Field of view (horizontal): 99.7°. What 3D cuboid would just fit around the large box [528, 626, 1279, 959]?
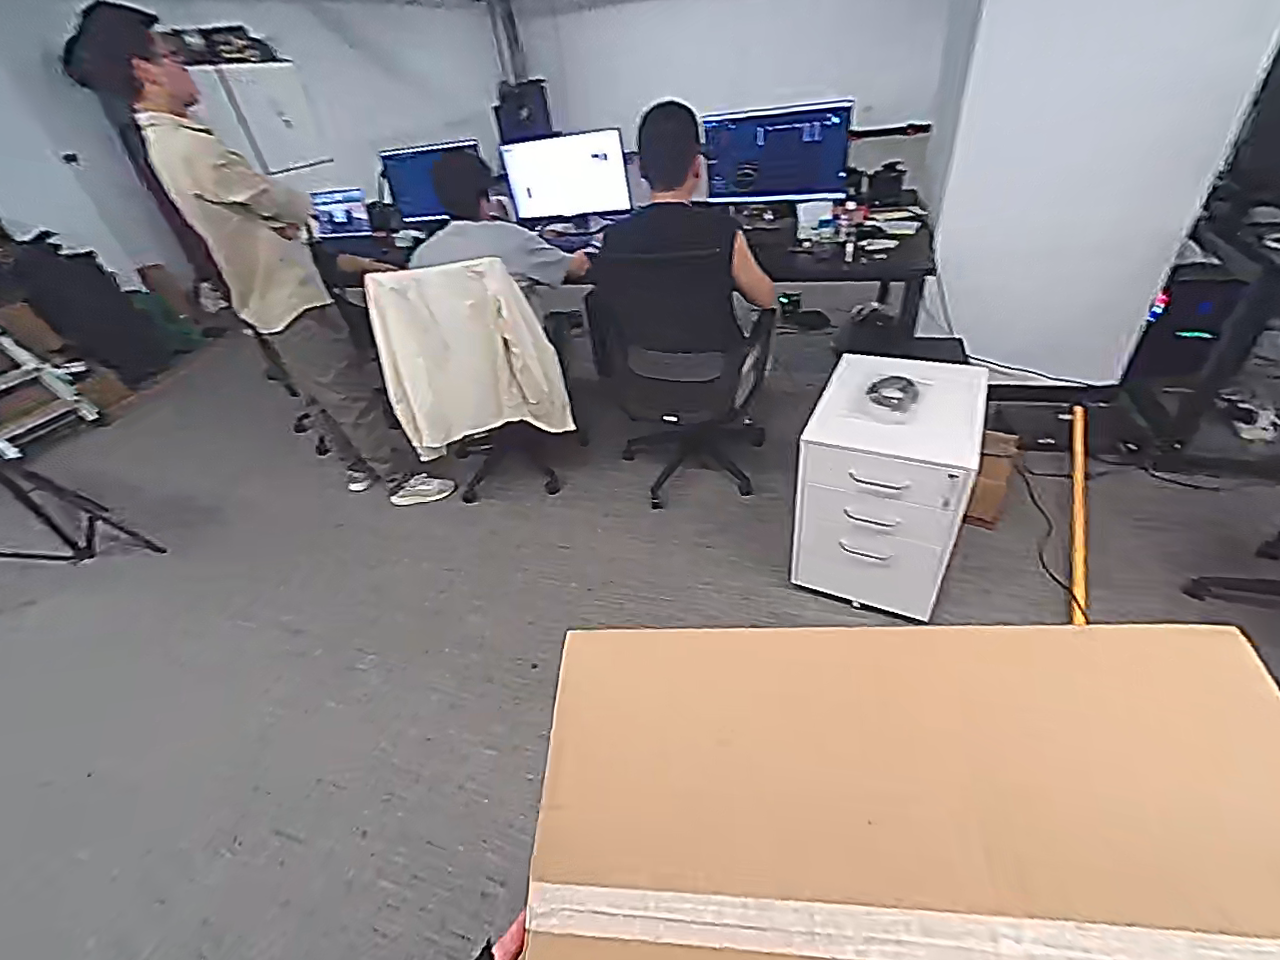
[{"bbox_3d":[0.161,0.315,0.389,0.408,0.320,0.320,-4,54,10],"label":"large box"}]
